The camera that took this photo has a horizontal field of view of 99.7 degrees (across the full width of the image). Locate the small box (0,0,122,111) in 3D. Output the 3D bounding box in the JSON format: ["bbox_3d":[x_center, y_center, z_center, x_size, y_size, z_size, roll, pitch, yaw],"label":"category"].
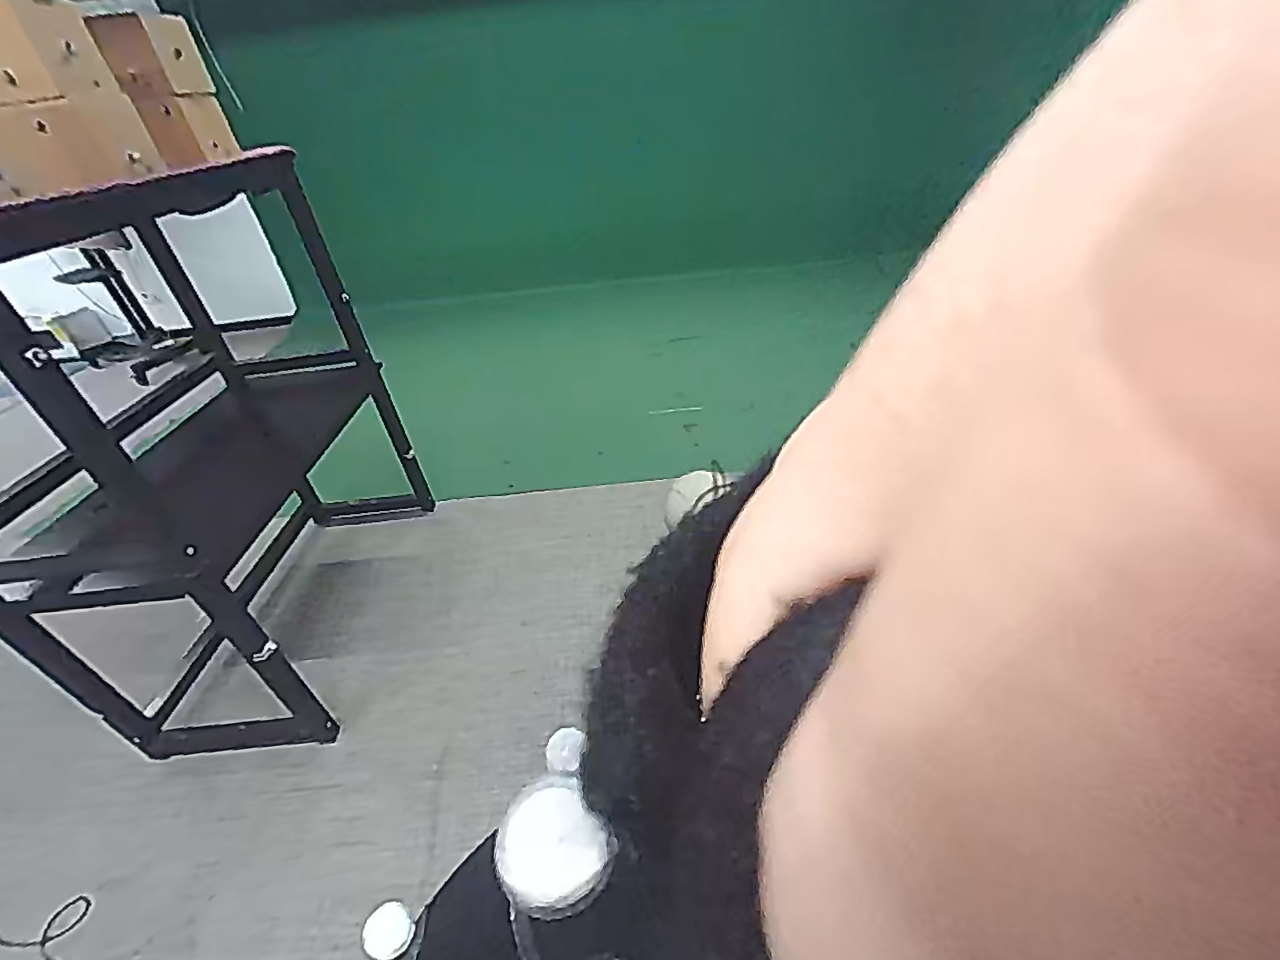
[{"bbox_3d":[-1.262,-0.880,1.127,0.179,0.176,0.168,-5,37,2],"label":"small box"}]

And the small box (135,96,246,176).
[{"bbox_3d":[-1.254,-0.950,1.496,0.179,0.176,0.168,-4,37,2],"label":"small box"}]

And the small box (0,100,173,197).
[{"bbox_3d":[-1.234,-0.750,1.224,0.179,0.176,0.168,-5,37,2],"label":"small box"}]
